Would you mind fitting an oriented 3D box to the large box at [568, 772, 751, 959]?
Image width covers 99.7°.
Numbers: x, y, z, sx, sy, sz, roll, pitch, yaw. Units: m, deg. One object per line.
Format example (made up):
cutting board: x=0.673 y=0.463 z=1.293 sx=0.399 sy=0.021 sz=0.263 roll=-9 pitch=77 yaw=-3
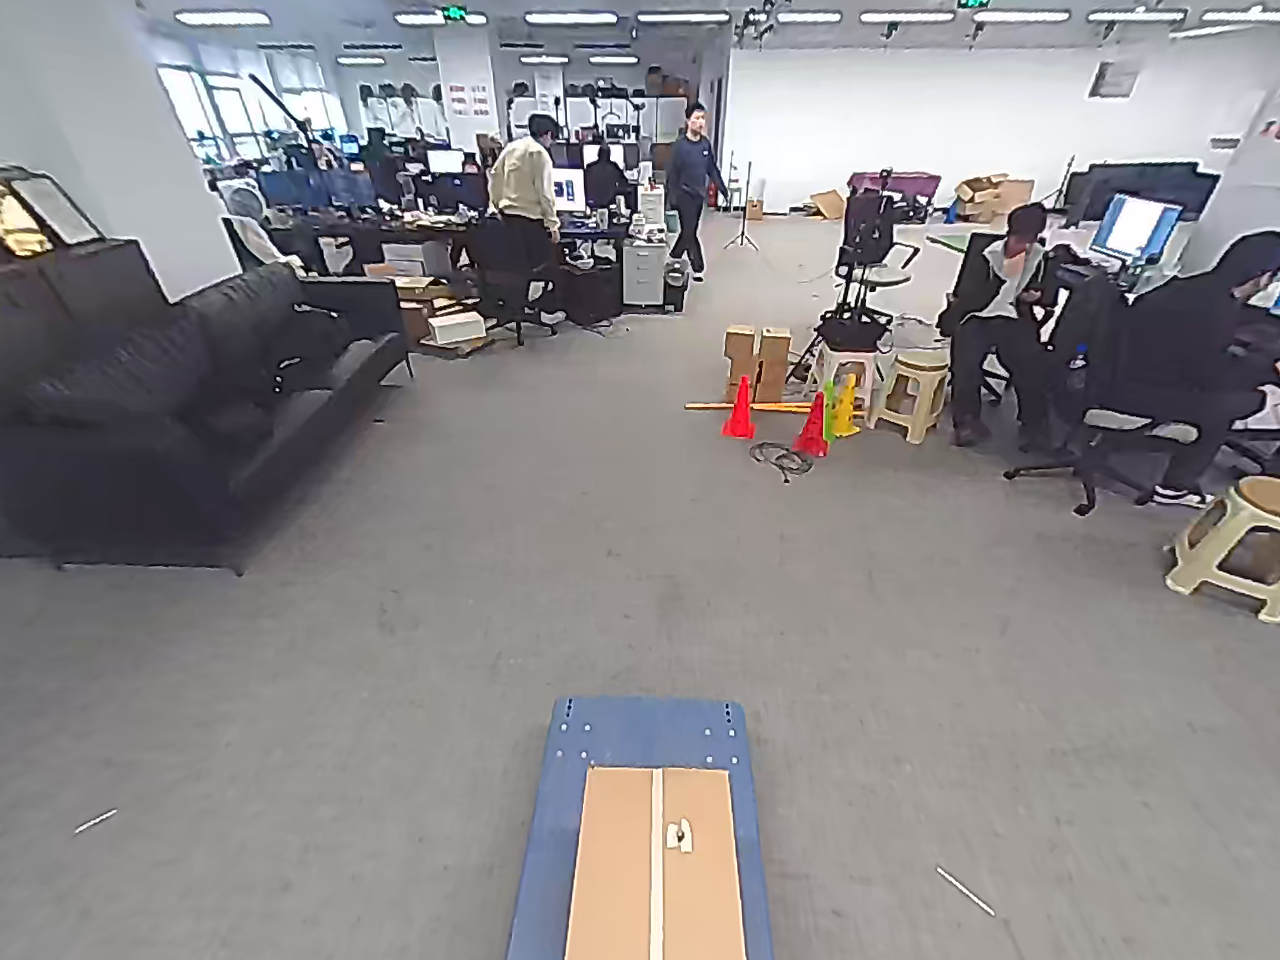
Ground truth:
large box: x=0.038 y=0.873 z=1.091 sx=0.320 sy=0.320 sz=0.408 roll=1 pitch=33 yaw=2
